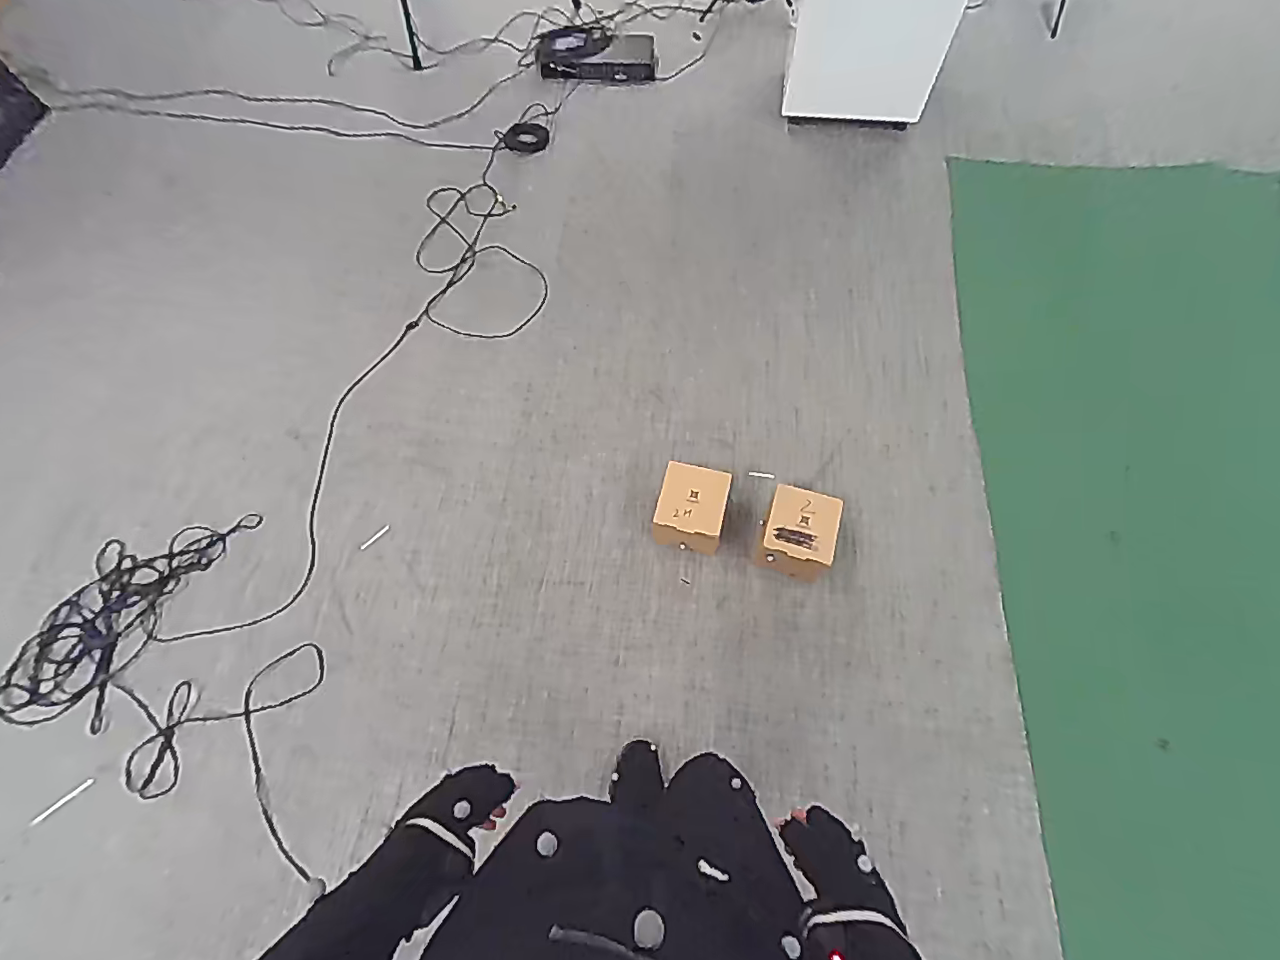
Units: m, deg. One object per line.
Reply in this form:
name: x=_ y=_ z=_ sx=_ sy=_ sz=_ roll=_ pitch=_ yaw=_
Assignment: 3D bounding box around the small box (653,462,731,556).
small box: x=0.133 y=0.080 z=1.410 sx=0.168 sy=0.176 sz=0.179 roll=13 pitch=68 yaw=9
